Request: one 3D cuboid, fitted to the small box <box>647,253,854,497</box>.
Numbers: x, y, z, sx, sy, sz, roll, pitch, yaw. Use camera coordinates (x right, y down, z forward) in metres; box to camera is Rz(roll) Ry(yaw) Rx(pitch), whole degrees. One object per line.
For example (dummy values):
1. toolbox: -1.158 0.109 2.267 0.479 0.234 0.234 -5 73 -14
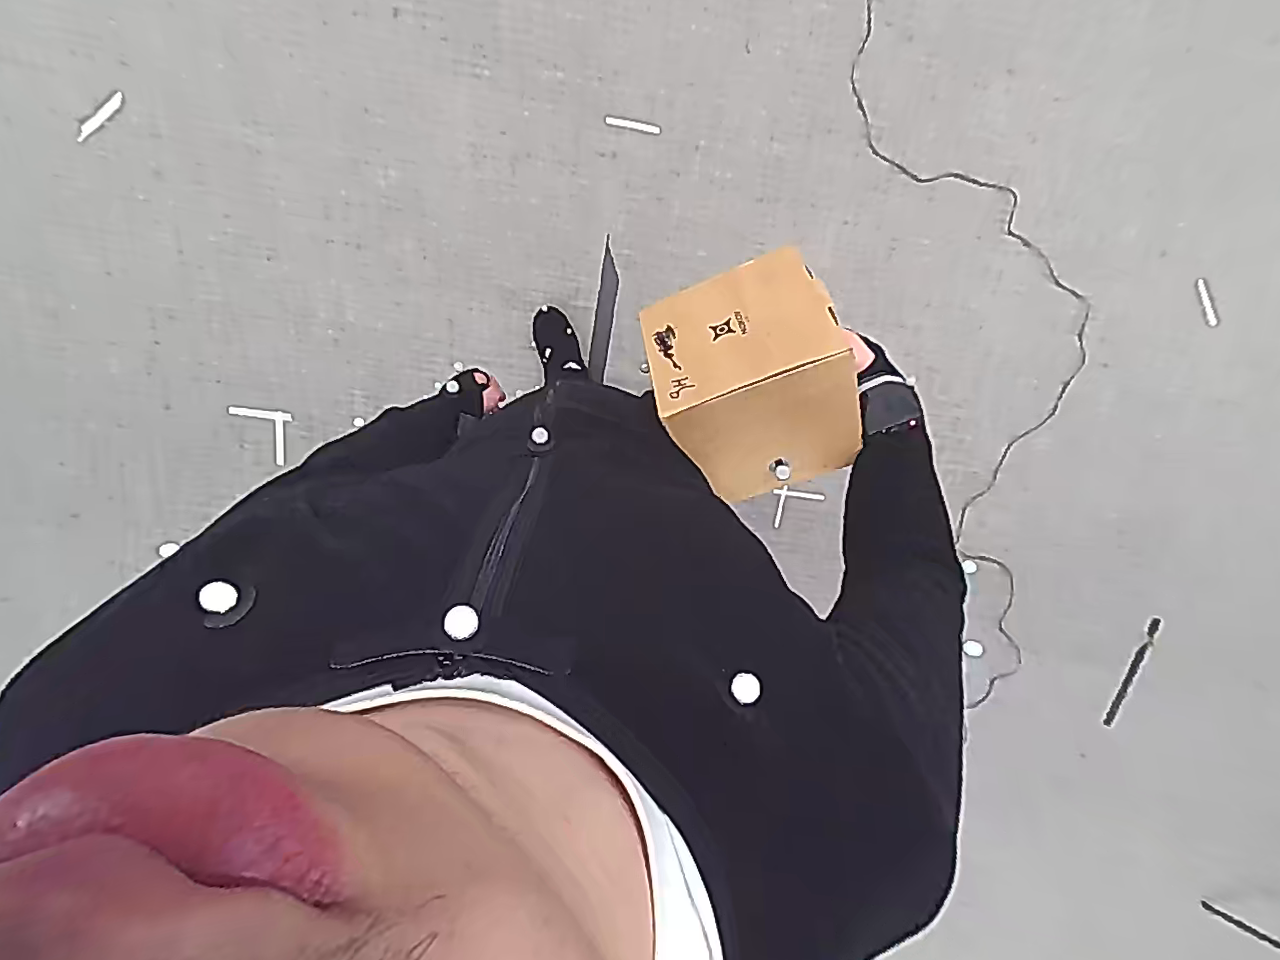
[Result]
1. small box: 0.124 -0.107 0.597 0.179 0.168 0.176 -18 141 12
